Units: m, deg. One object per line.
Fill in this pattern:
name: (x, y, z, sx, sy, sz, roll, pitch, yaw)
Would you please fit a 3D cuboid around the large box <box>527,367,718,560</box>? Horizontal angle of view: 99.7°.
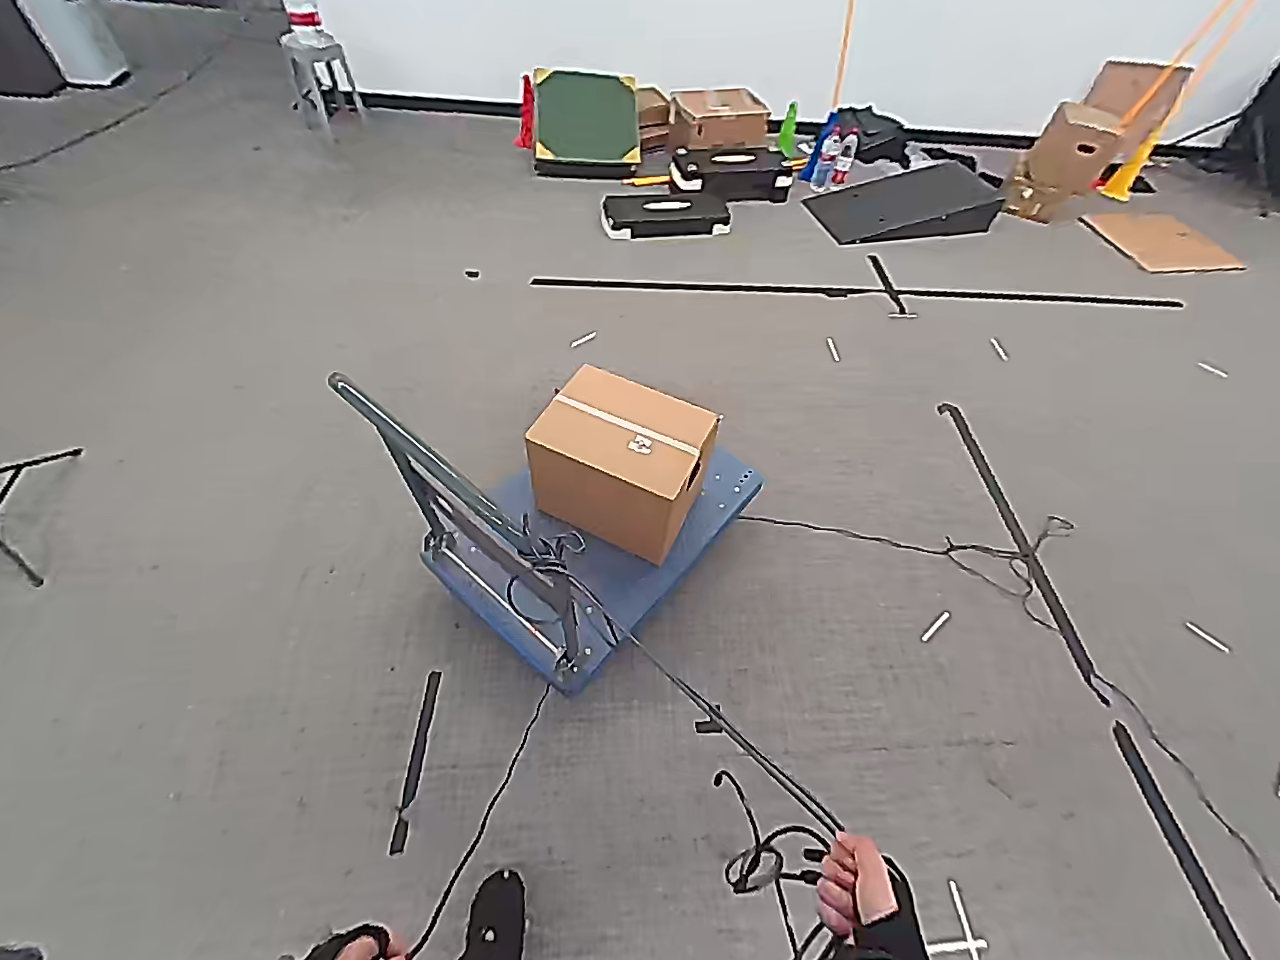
large box: (-0.050, -0.045, 1.475, 0.408, 0.320, 0.320, 23, 55, 12)
